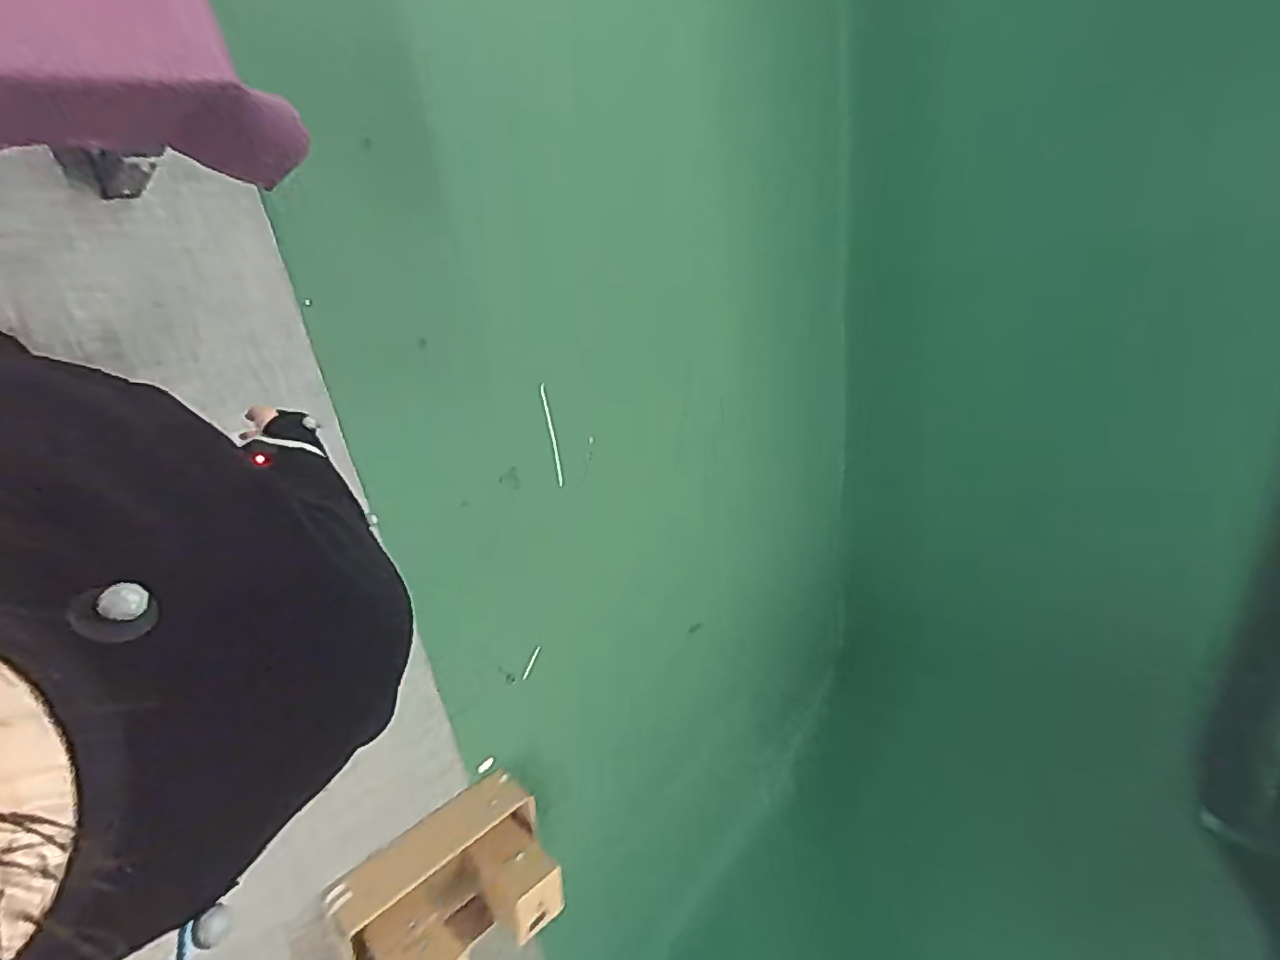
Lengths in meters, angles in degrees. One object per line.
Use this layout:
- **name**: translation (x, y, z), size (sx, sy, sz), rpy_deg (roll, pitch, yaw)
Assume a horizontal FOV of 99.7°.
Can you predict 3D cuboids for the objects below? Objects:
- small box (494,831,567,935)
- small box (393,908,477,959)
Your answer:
- **small box**: translation (-0.358, 1.305, 1.766), size (0.168, 0.176, 0.179), rpy_deg (-14, 108, -44)
- **small box**: translation (-0.577, 1.388, 1.540), size (0.168, 0.176, 0.179), rpy_deg (-21, 112, -44)
